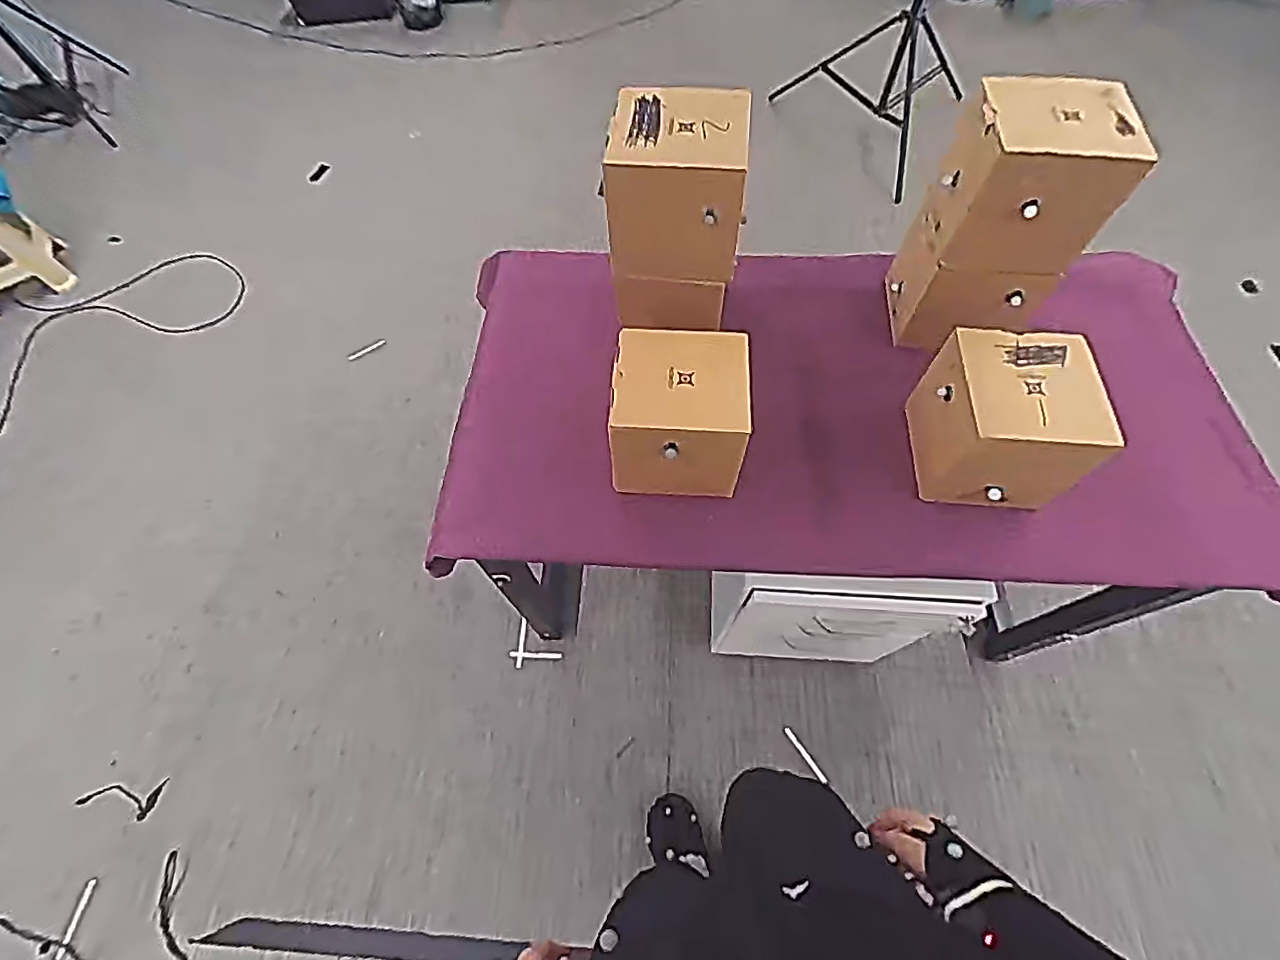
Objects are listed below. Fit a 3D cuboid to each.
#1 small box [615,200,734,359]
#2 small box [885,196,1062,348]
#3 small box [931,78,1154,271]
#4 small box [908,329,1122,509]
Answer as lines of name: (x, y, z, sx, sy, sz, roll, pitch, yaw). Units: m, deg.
small box: (0.058, -0.326, 0.890, 0.168, 0.176, 0.179, 6, 64, 6)
small box: (0.523, -0.328, 0.876, 0.179, 0.176, 0.168, 5, 62, 5)
small box: (0.517, -0.407, 0.732, 0.179, 0.176, 0.168, 6, 63, 6)
small box: (0.489, -0.080, 0.742, 0.168, 0.176, 0.179, 4, 61, 5)
